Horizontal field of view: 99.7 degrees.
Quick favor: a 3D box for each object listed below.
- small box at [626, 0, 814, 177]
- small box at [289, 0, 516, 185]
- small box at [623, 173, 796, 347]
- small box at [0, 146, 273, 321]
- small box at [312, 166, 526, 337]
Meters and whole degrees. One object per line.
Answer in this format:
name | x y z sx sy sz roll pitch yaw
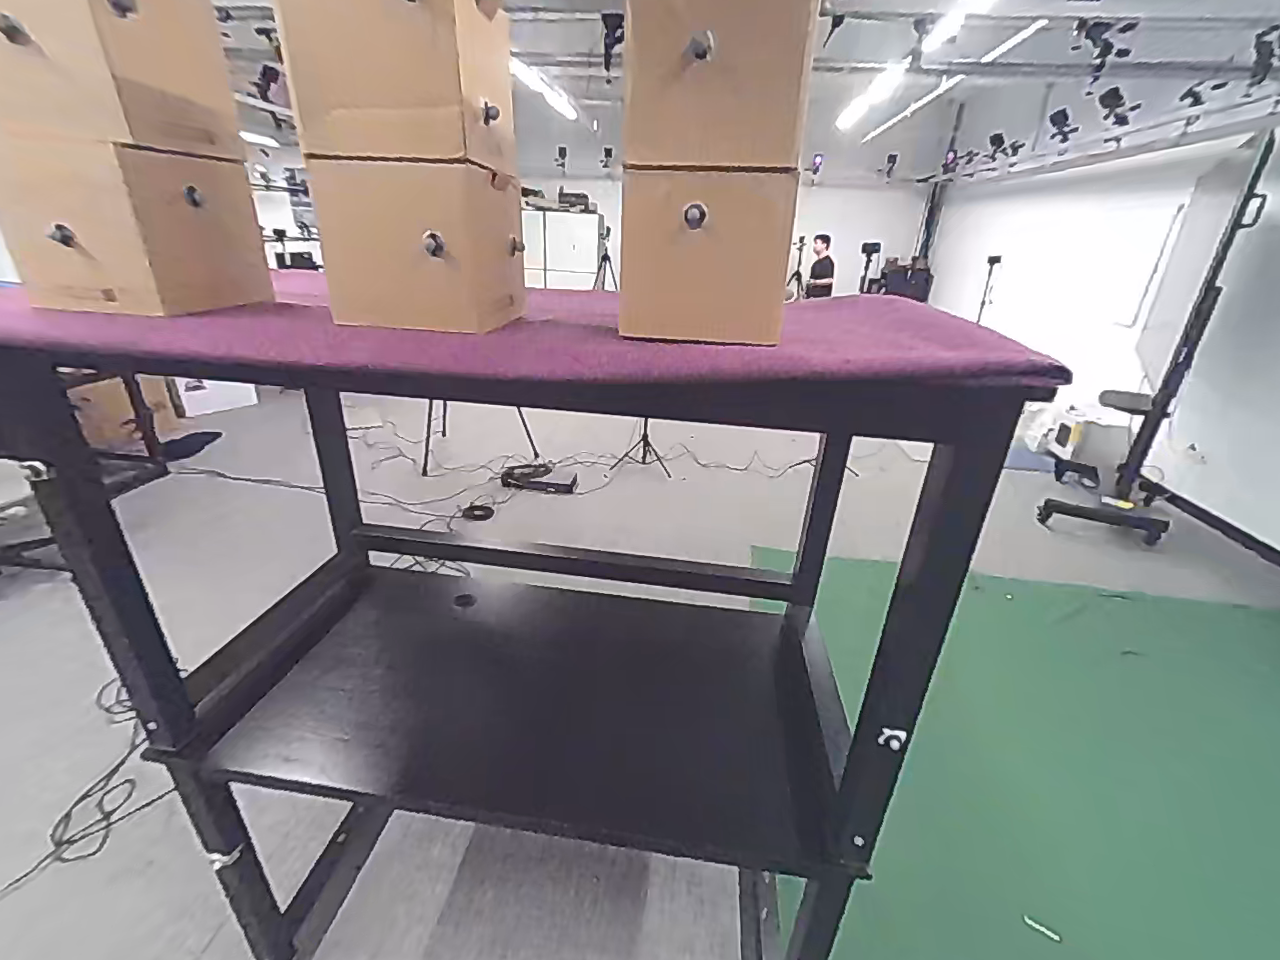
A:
small box | 0.083 -0.406 0.580 0.179 0.176 0.168 5 22 8
small box | -0.243 -0.419 0.586 0.179 0.176 0.168 4 23 3
small box | 0.078 -0.252 0.639 0.179 0.176 0.168 6 22 7
small box | -0.586 -0.291 0.653 0.168 0.176 0.179 6 24 3
small box | -0.244 -0.268 0.649 0.179 0.176 0.168 4 23 5
